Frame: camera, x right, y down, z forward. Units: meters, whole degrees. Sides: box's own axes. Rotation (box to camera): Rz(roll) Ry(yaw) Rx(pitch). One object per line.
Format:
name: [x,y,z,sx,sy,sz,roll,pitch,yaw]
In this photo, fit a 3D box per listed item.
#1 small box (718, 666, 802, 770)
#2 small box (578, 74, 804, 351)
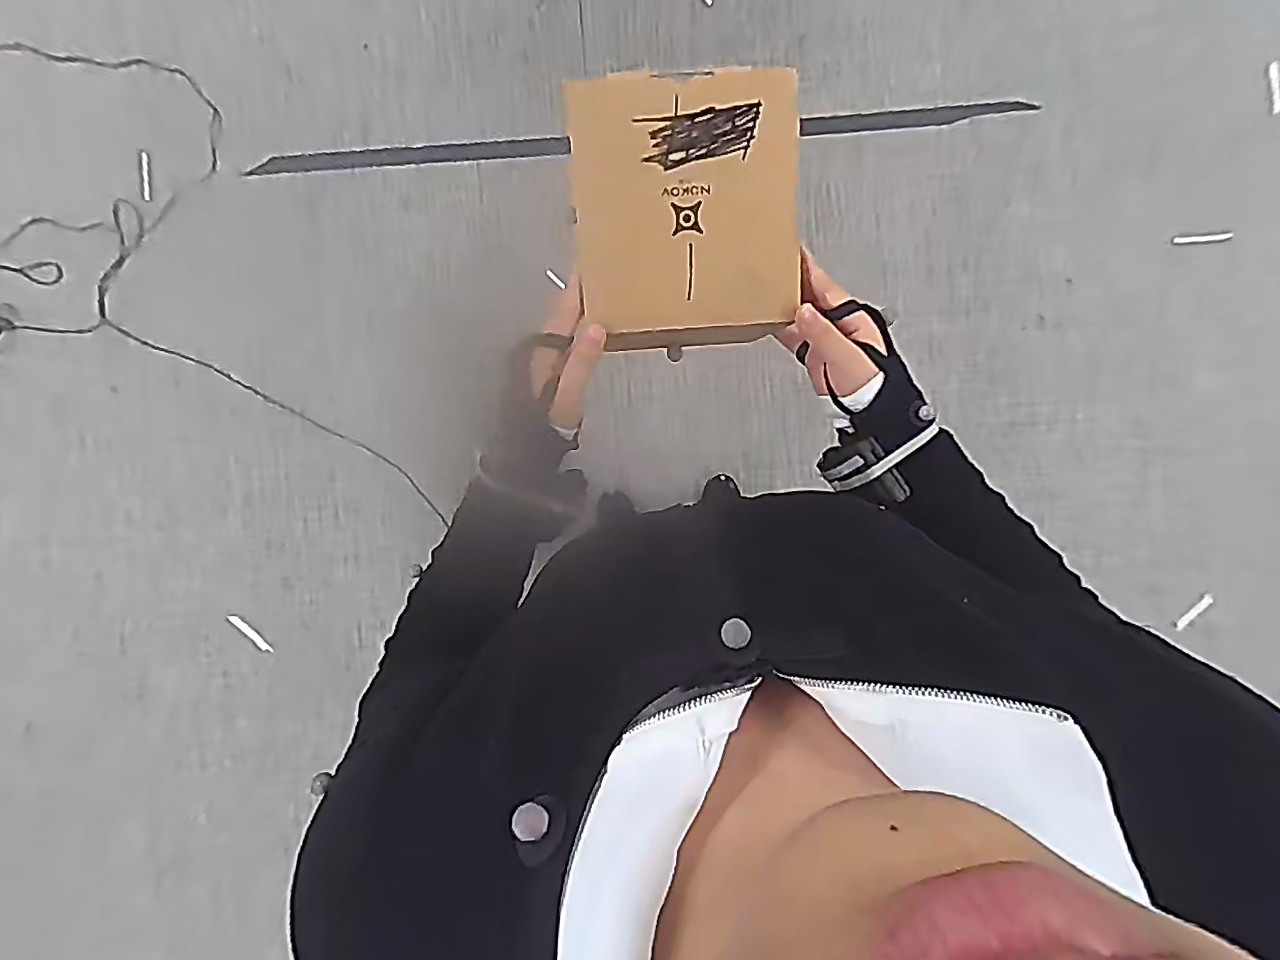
small box: [0.286,0.572,1.312,0.168,0.176,0.179,-5,90,1]
small box: [0.037,-0.214,0.478,0.168,0.176,0.179,-4,99,0]
